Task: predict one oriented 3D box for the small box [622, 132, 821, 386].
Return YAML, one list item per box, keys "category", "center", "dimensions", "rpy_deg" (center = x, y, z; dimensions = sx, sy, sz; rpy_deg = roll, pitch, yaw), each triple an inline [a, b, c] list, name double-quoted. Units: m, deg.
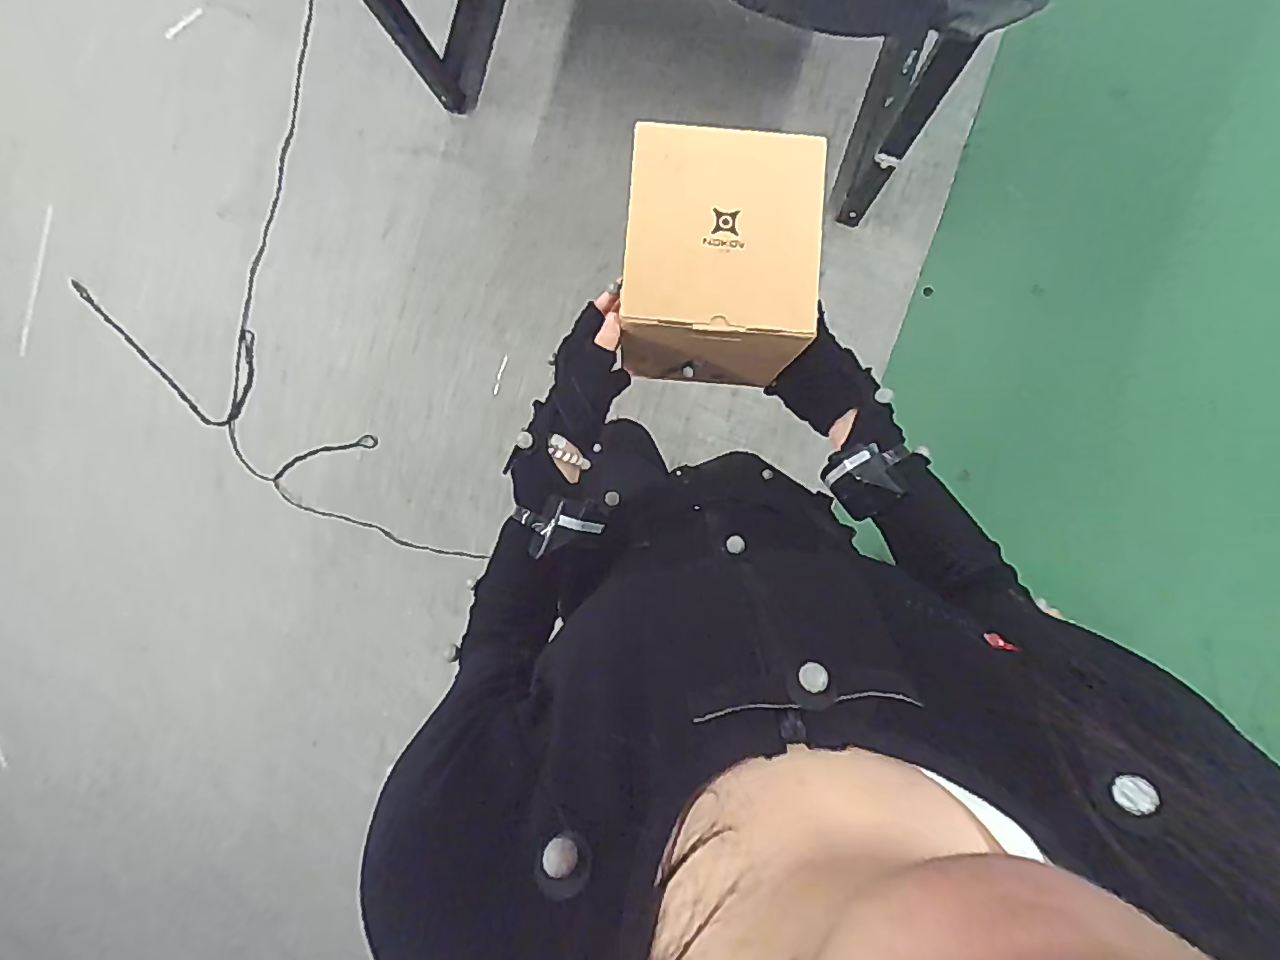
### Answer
- category: "small box"
  center: [0.070, -0.206, 0.548]
  dimensions: [0.168, 0.176, 0.179]
  rpy_deg: [5, 87, -1]
